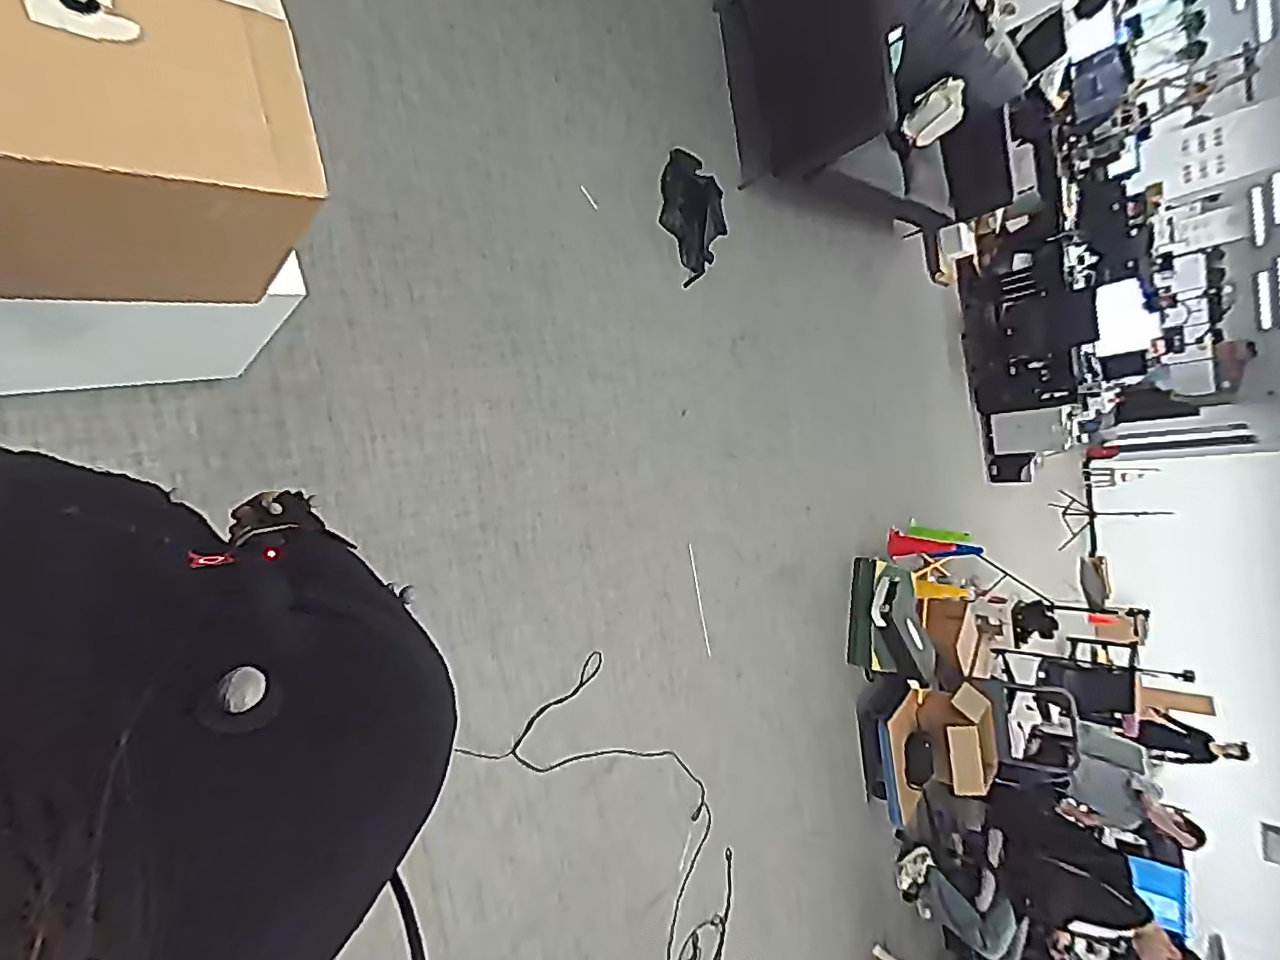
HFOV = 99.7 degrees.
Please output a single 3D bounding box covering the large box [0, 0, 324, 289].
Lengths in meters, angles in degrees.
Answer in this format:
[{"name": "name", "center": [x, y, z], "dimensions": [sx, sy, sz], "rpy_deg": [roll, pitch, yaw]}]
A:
[{"name": "large box", "center": [-0.554, -0.357, 0.436], "dimensions": [0.408, 0.320, 0.320], "rpy_deg": [-18, 100, -45]}]
